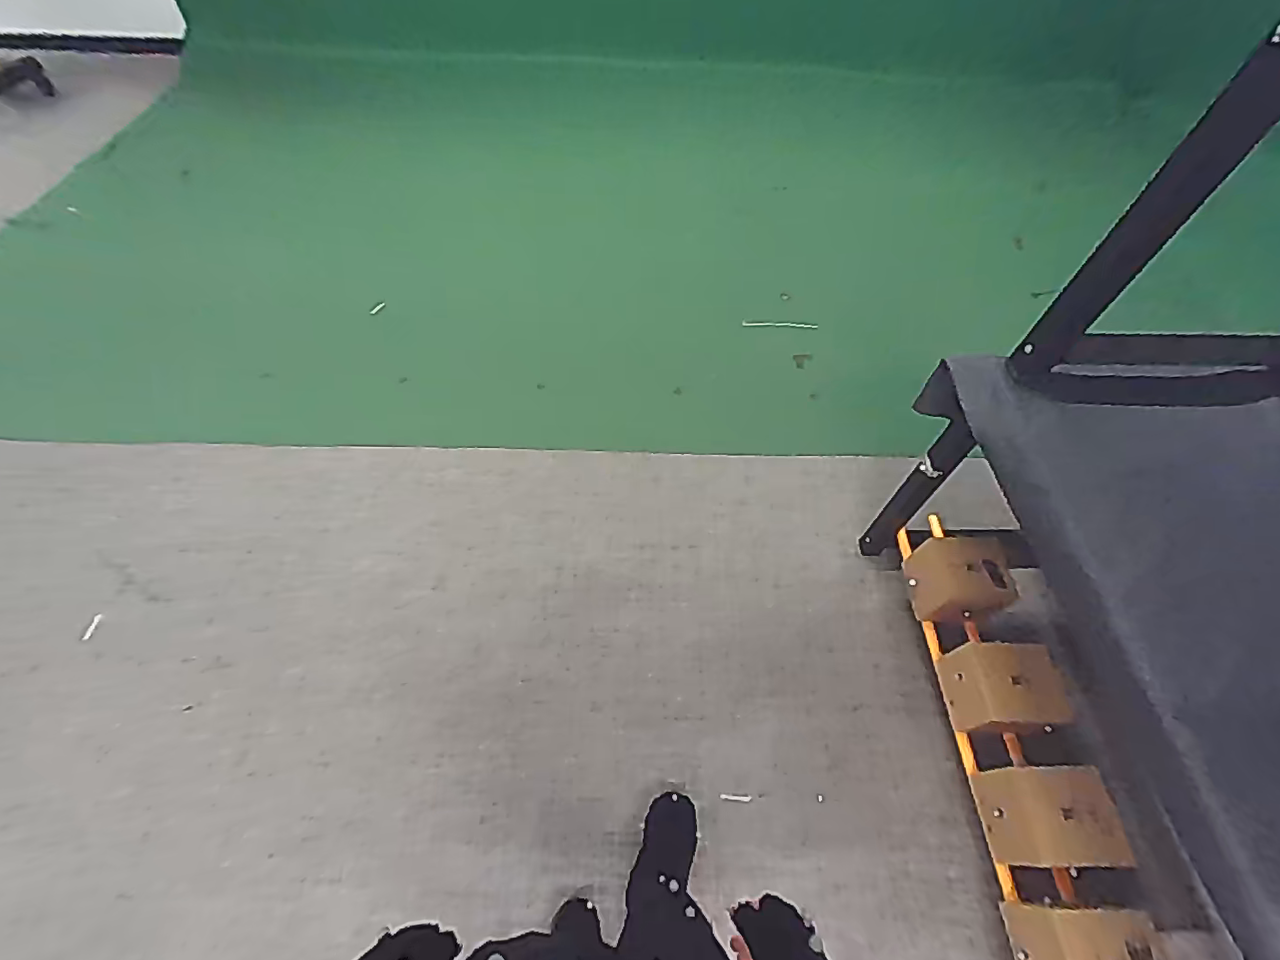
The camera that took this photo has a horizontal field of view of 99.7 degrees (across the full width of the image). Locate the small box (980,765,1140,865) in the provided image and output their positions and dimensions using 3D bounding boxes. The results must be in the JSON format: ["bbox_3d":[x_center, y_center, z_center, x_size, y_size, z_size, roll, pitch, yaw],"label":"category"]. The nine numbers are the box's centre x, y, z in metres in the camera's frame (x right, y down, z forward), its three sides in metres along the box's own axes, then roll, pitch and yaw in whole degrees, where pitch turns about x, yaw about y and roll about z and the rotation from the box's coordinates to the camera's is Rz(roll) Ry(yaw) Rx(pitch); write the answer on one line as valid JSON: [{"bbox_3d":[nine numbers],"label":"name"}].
[{"bbox_3d":[0.826,0.677,1.093,0.179,0.176,0.168,0,58,-1],"label":"small box"}]

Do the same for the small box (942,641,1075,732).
[{"bbox_3d":[0.819,0.473,1.231,0.179,0.176,0.168,1,57,0],"label":"small box"}]
